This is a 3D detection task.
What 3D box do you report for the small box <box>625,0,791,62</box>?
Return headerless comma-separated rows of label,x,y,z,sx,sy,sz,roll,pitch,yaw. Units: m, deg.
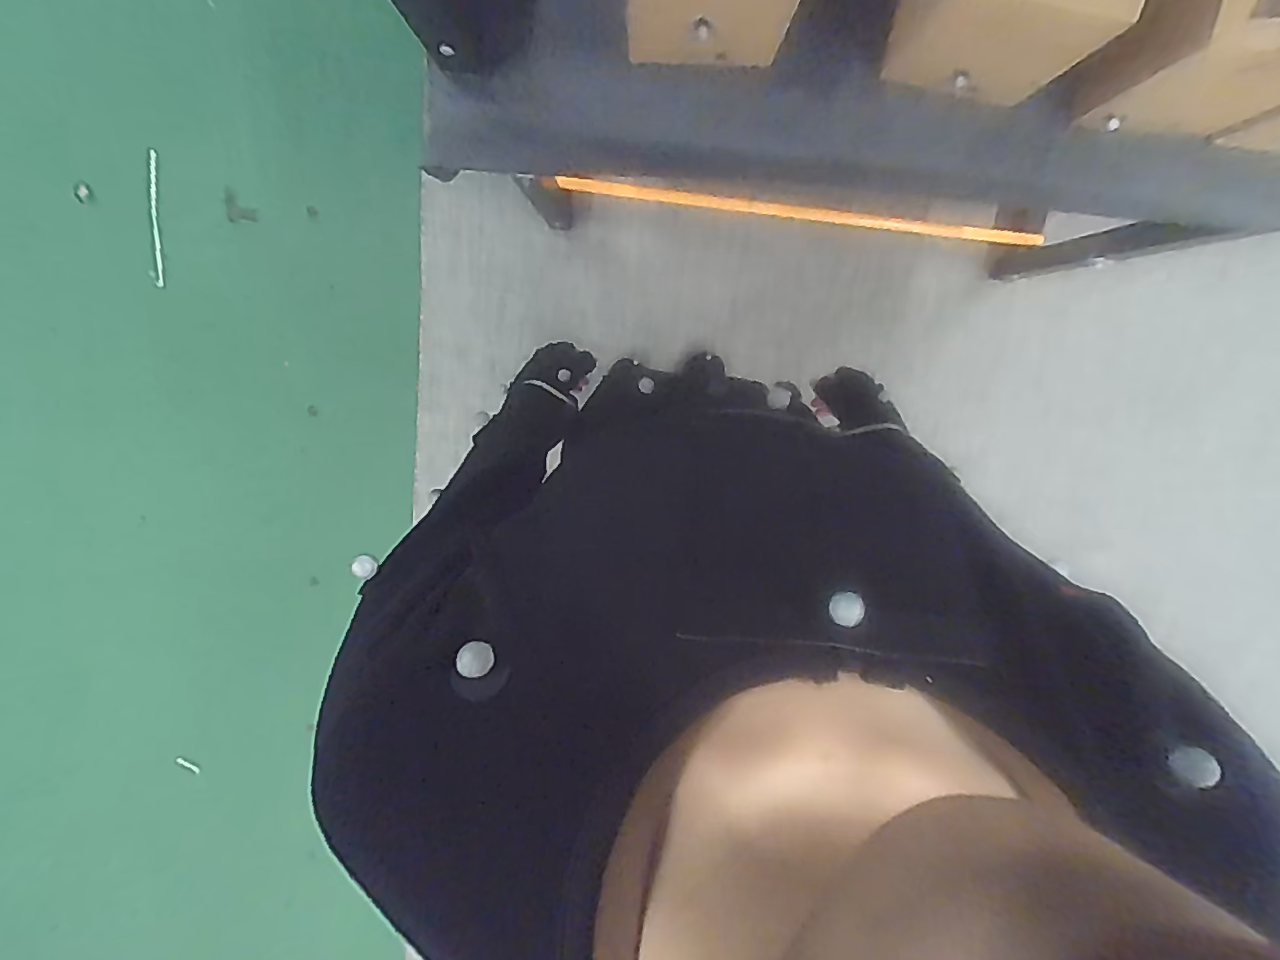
small box,0.070,-0.546,0.524,0.168,0.176,0.179,2,102,-1
